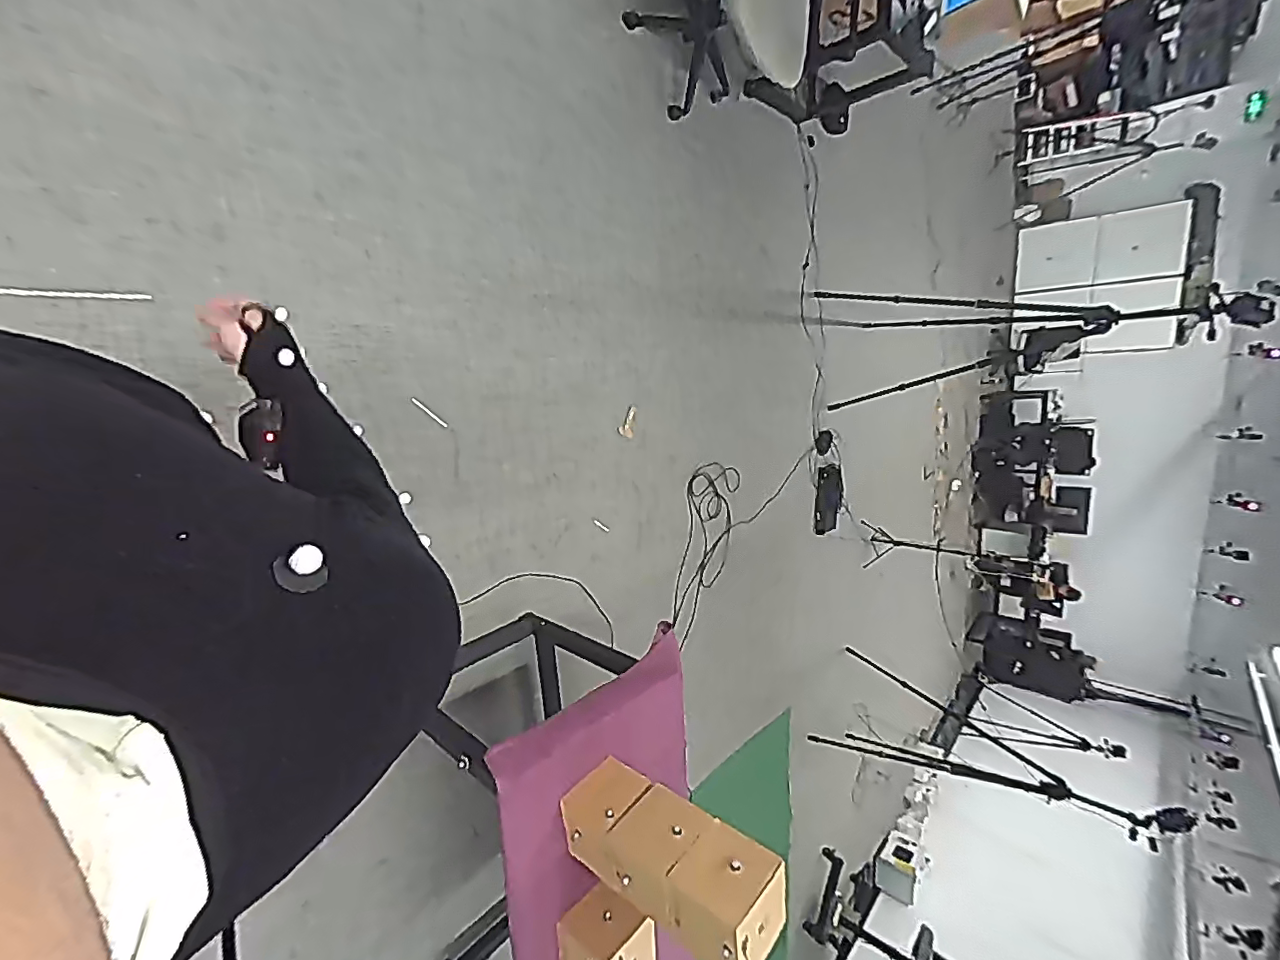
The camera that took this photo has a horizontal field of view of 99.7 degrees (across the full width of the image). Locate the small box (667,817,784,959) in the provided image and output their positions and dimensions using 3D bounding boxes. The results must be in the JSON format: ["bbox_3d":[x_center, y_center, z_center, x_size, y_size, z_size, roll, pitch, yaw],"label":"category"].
[{"bbox_3d":[0.174,0.836,1.093,0.179,0.176,0.168,-20,110,-44],"label":"small box"}]

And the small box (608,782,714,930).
[{"bbox_3d":[0.053,0.820,1.202,0.179,0.176,0.168,-23,112,-43],"label":"small box"}]

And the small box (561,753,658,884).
[{"bbox_3d":[-0.066,0.809,1.316,0.179,0.176,0.168,-22,111,-43],"label":"small box"}]
